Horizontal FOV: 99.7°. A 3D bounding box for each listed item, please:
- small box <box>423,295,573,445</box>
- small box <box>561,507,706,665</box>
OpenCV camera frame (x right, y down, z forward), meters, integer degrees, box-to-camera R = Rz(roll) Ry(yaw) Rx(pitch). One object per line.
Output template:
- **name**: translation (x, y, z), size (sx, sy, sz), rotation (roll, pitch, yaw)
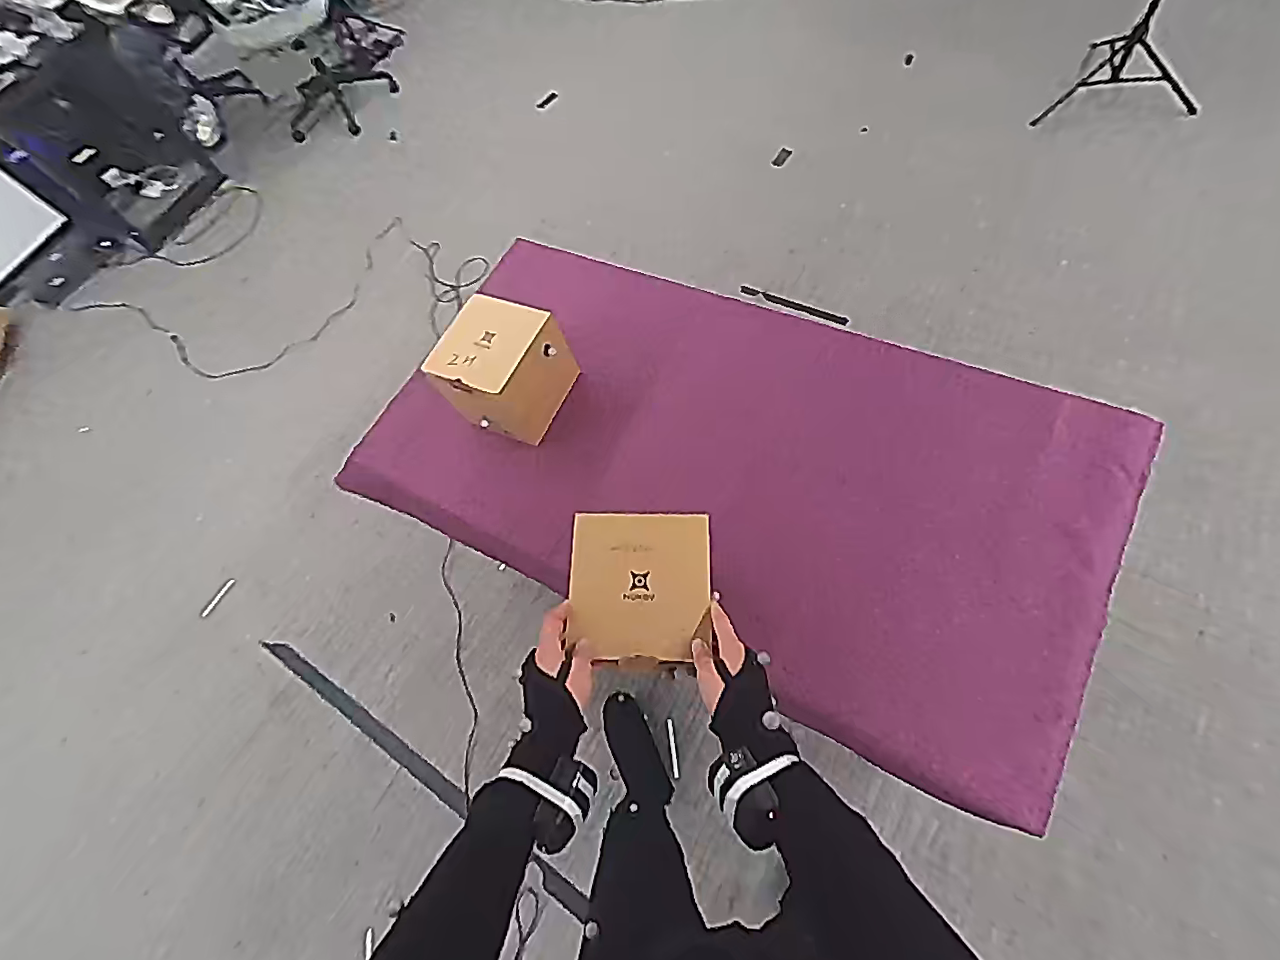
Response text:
- **small box**: translation (-0.238, -0.192, 0.963), size (0.168, 0.176, 0.179), rotation (20, 71, 20)
- **small box**: translation (0.000, 0.145, 0.707), size (0.168, 0.176, 0.179), rotation (1, 67, 3)
